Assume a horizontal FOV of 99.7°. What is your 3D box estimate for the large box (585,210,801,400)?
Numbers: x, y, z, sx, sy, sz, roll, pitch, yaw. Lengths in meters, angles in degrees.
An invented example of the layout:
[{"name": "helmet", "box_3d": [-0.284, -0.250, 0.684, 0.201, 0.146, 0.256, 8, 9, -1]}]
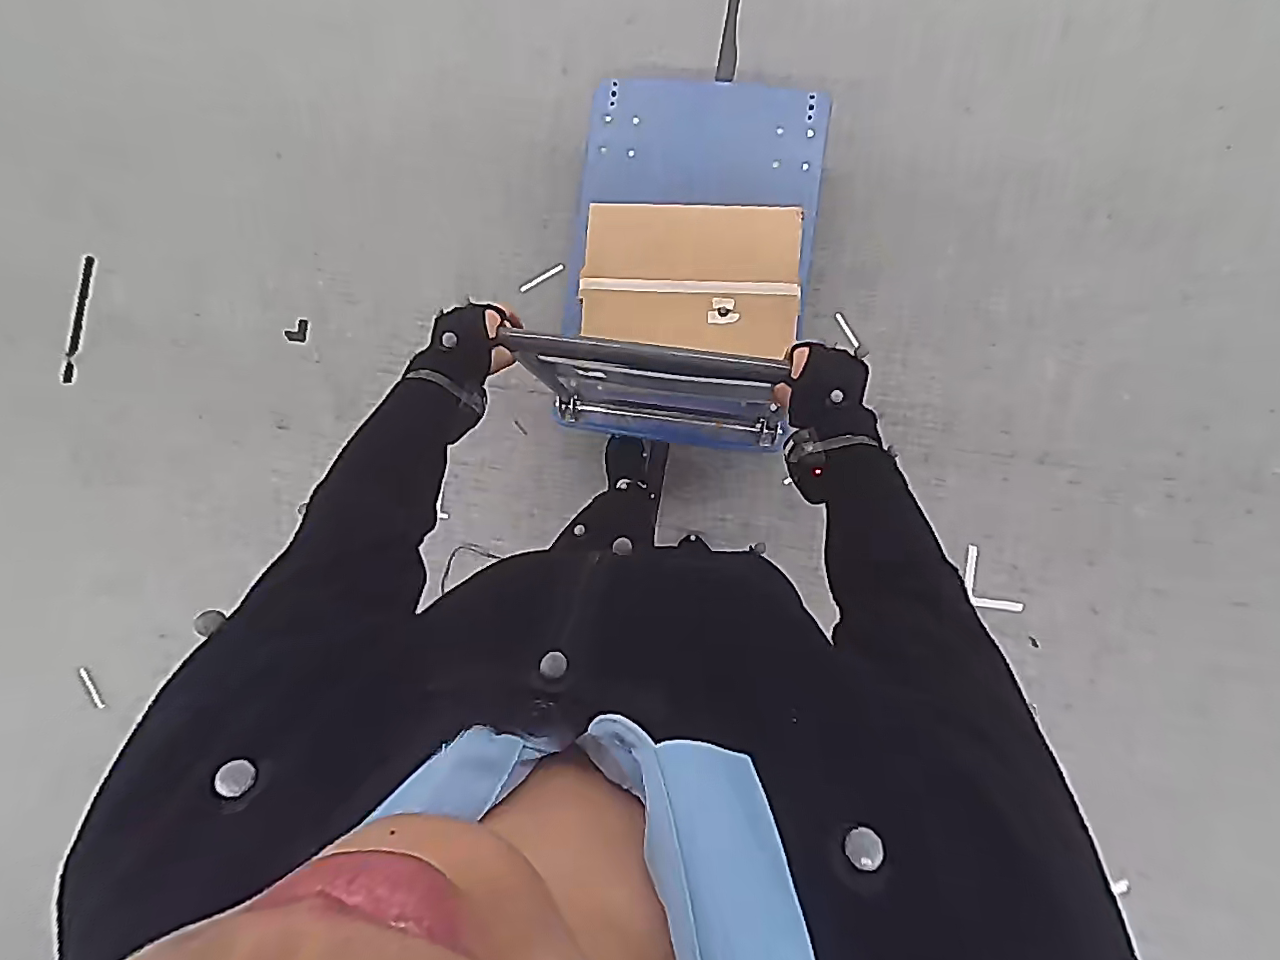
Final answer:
[{"name": "large box", "box_3d": [0.107, -0.357, 1.175, 0.408, 0.320, 0.320, 4, 90, 4]}]
